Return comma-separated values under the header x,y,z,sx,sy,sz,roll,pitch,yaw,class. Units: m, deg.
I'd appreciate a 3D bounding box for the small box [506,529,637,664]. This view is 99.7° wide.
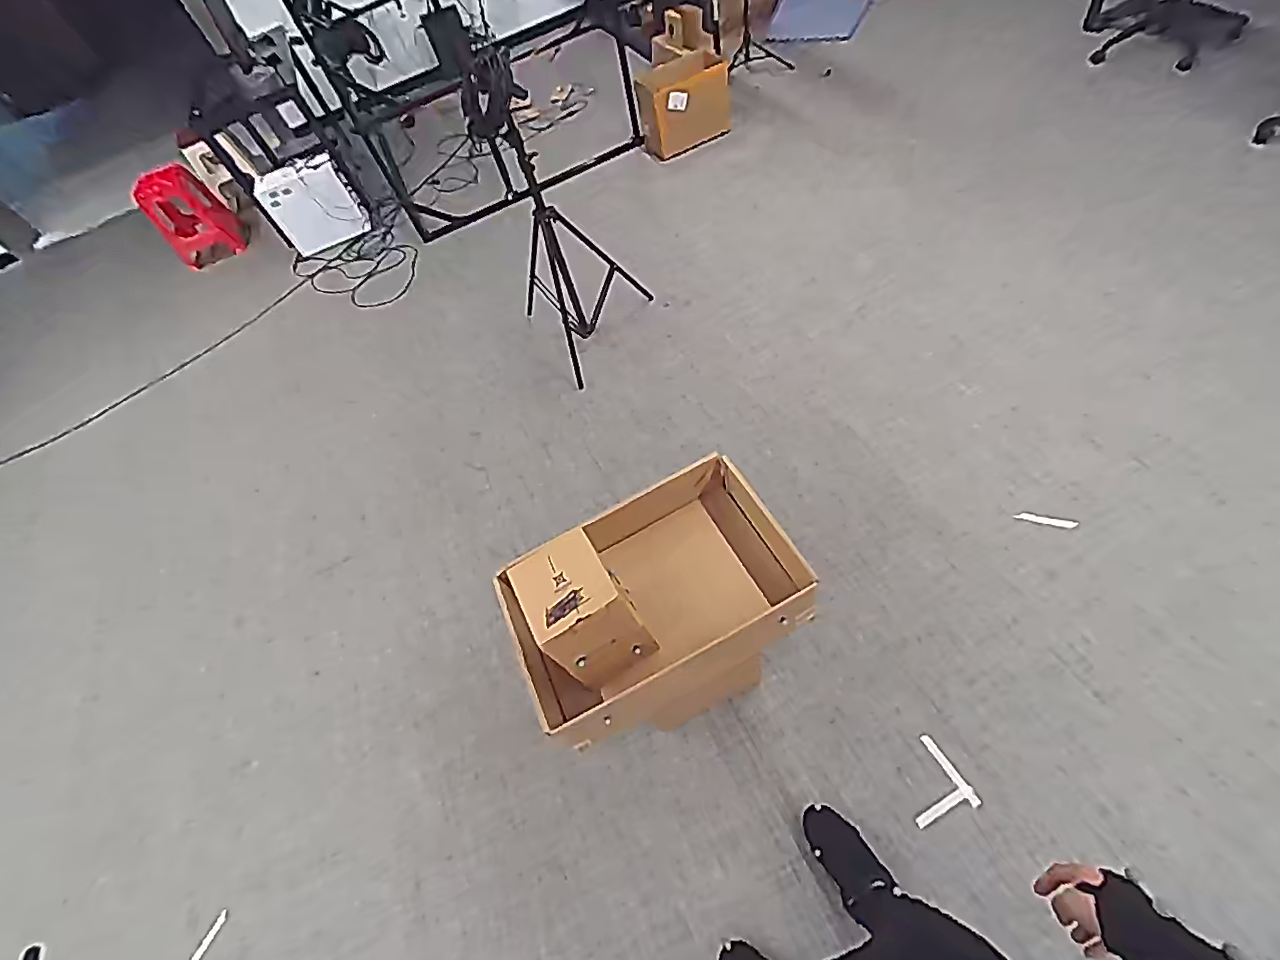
x,y,z,sx,sy,sz,roll,pitch,yaw,class
-0.126,0.233,1.041,0.168,0.176,0.179,-31,54,-6,small box

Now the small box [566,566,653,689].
x,y,z,sx,sy,sz,roll,pitch,yaw,class
-0.085,0.323,1.172,0.179,0.176,0.168,-32,55,-6,small box
